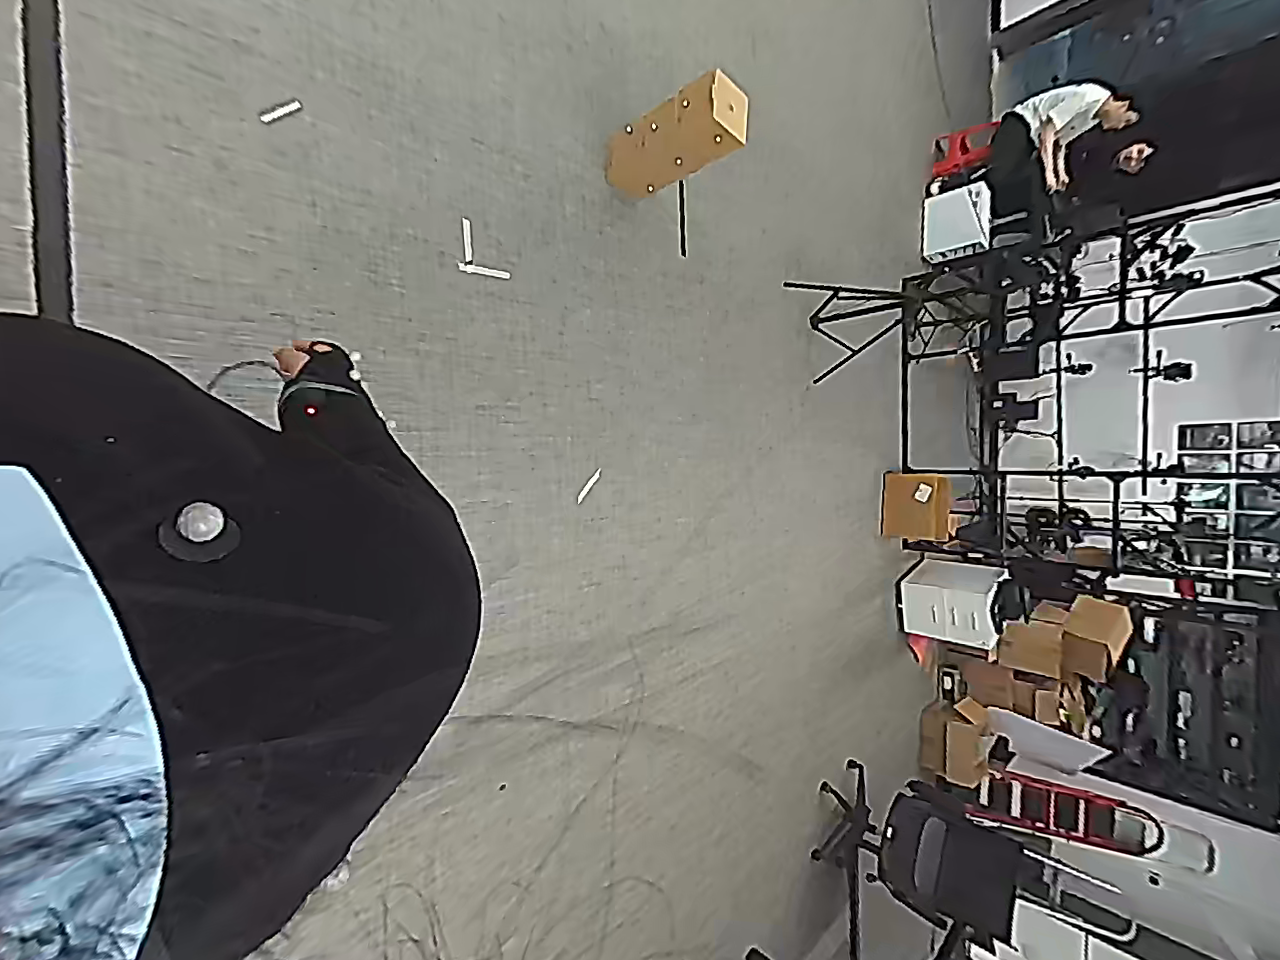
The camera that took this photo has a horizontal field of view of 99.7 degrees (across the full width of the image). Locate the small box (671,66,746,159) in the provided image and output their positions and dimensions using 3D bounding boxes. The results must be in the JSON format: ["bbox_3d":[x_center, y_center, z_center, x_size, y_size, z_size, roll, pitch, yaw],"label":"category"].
[{"bbox_3d":[0.225,-1.188,1.769,0.179,0.176,0.168,5,87,-44],"label":"small box"}]

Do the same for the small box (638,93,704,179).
[{"bbox_3d":[0.109,-1.186,1.883,0.179,0.176,0.168,6,87,-45],"label":"small box"}]
